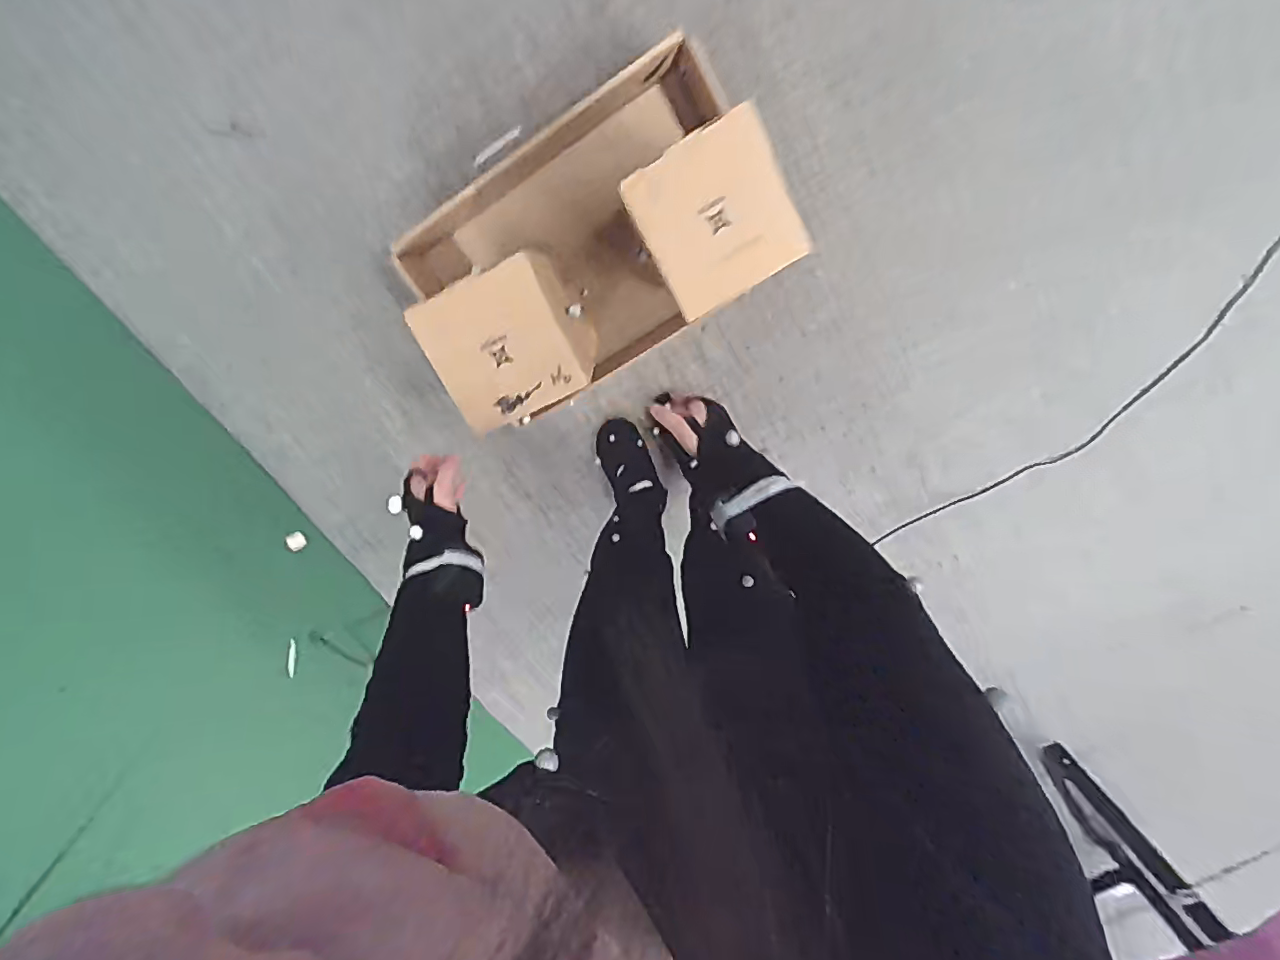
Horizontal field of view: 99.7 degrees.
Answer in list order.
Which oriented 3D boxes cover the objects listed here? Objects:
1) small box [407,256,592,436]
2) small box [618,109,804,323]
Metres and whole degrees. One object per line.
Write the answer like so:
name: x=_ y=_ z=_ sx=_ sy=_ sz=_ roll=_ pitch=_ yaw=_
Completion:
small box: x=-0.177 y=-0.186 z=0.744 sx=0.168 sy=0.176 sz=0.179 roll=-22 pitch=109 yaw=8
small box: x=0.083 y=-0.326 z=0.699 sx=0.168 sy=0.176 sz=0.179 roll=-27 pitch=110 yaw=10
